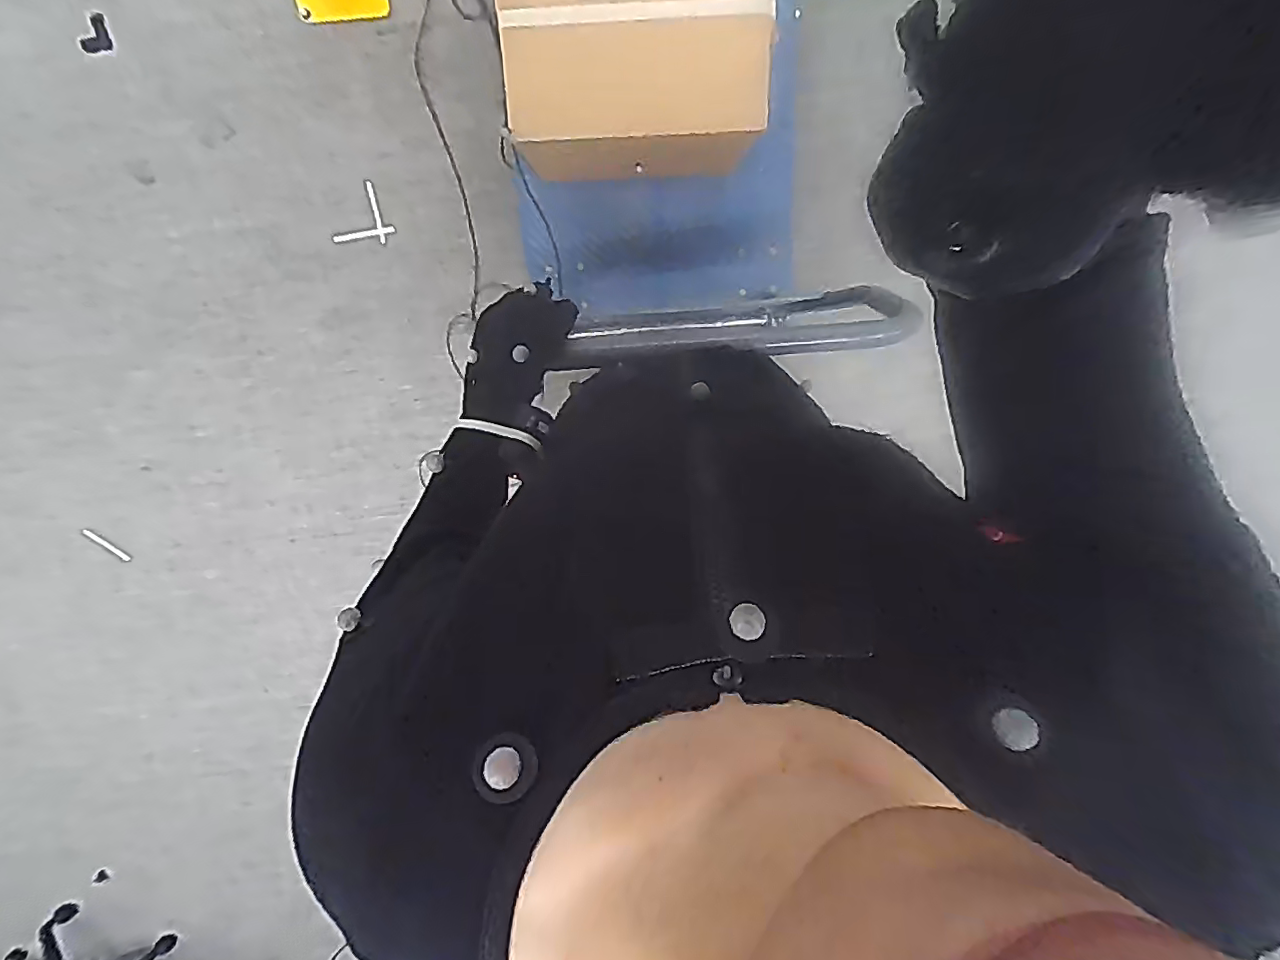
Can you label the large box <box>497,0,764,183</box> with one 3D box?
[{"bbox_3d":[-0.010,-0.731,0.948,0.408,0.320,0.320,-2,107,1],"label":"large box"}]
